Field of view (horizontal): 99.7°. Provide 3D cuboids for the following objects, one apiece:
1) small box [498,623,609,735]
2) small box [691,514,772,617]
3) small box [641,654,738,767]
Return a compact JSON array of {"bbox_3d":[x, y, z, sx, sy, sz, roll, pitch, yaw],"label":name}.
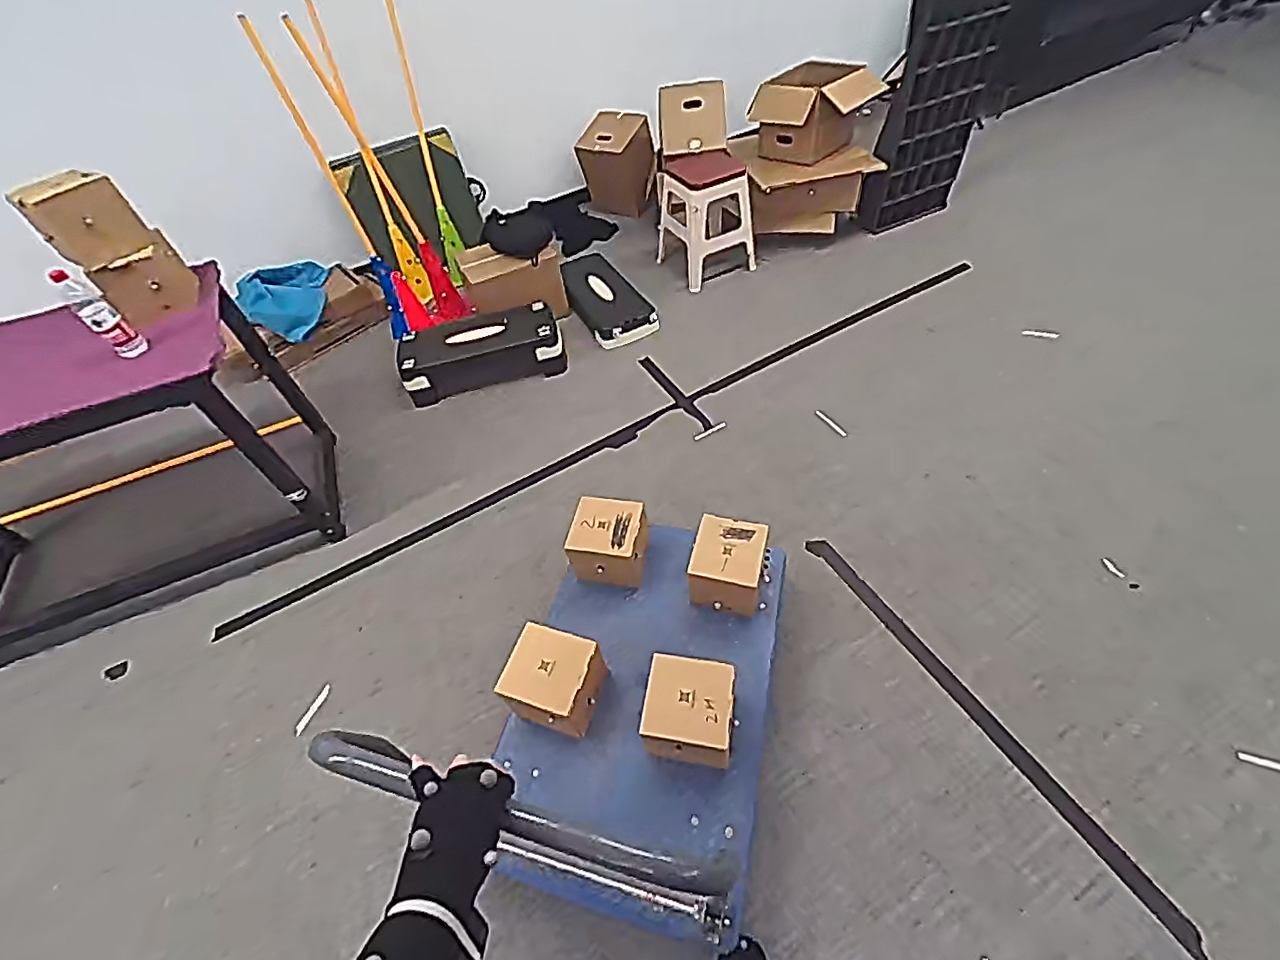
[{"bbox_3d":[-0.186,0.451,1.218,0.179,0.176,0.168,12,53,15],"label":"small box"},{"bbox_3d":[0.227,0.215,1.352,0.168,0.176,0.179,10,54,16],"label":"small box"},{"bbox_3d":[0.112,0.489,1.143,0.179,0.176,0.168,5,52,13],"label":"small box"}]
